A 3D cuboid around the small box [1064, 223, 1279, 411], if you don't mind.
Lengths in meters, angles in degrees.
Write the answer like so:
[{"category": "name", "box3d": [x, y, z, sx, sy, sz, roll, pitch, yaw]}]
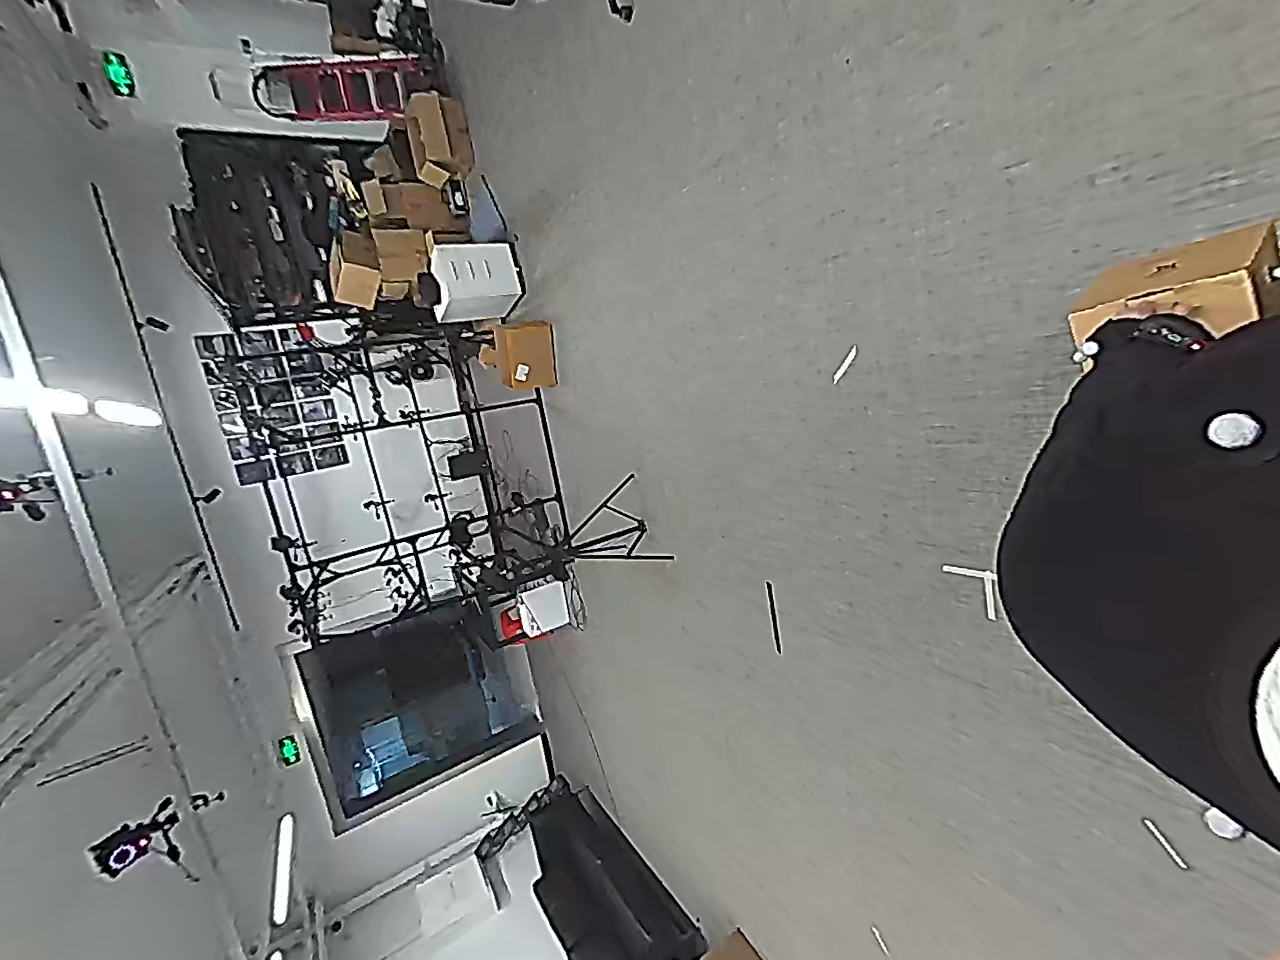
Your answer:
[{"category": "small box", "box3d": [0.709, -0.200, 0.715, 0.168, 0.179, 0.176, -4, 118, 59]}]
